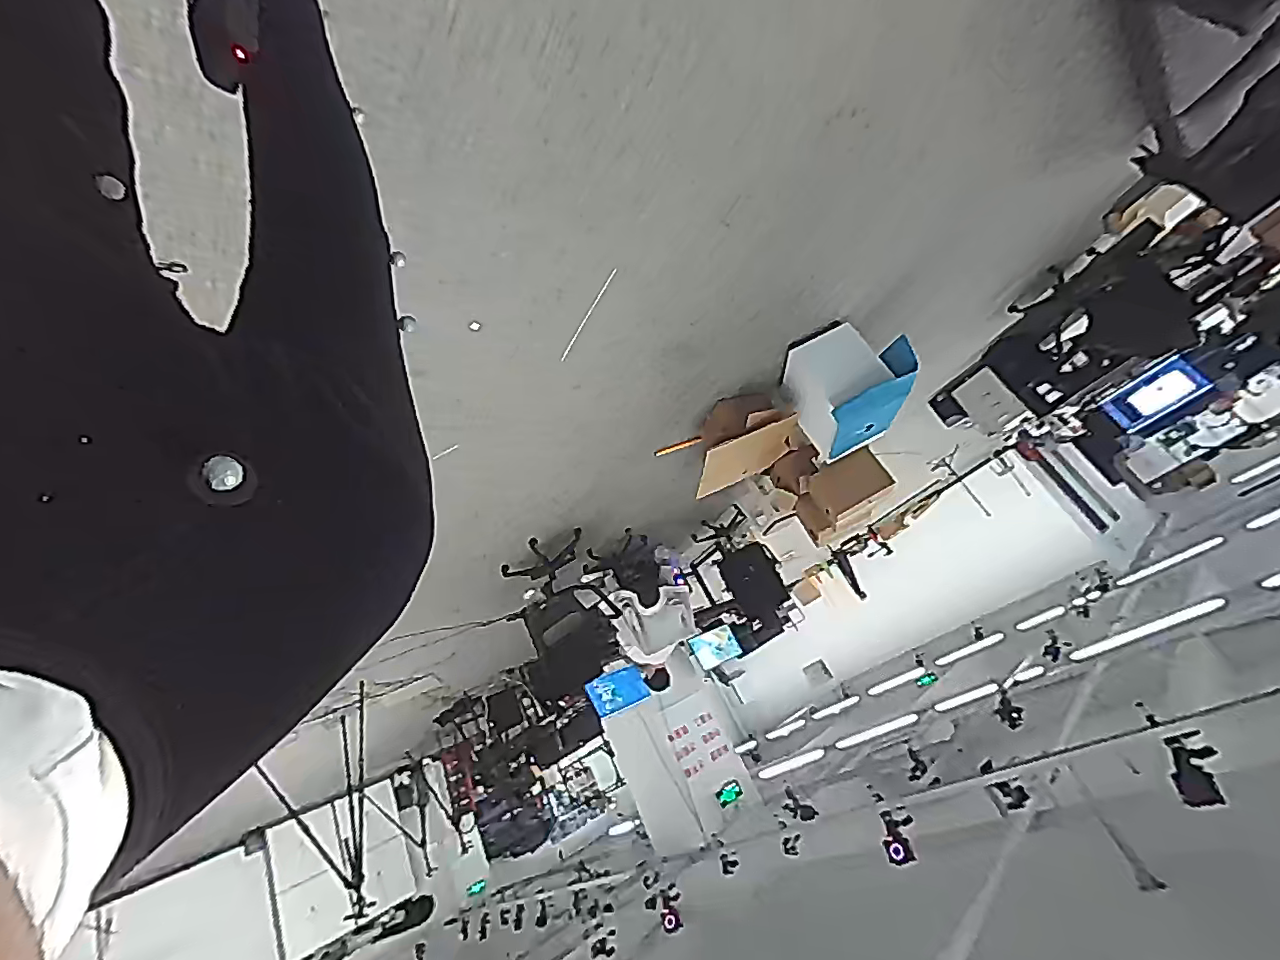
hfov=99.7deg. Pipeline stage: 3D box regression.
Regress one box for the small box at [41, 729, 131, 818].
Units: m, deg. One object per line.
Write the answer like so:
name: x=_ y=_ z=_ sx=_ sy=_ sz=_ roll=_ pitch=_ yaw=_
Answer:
small box: x=-1.653 y=0.871 z=1.617 sx=0.168 sy=0.176 sz=0.179 roll=-8 pitch=150 yaw=-39
